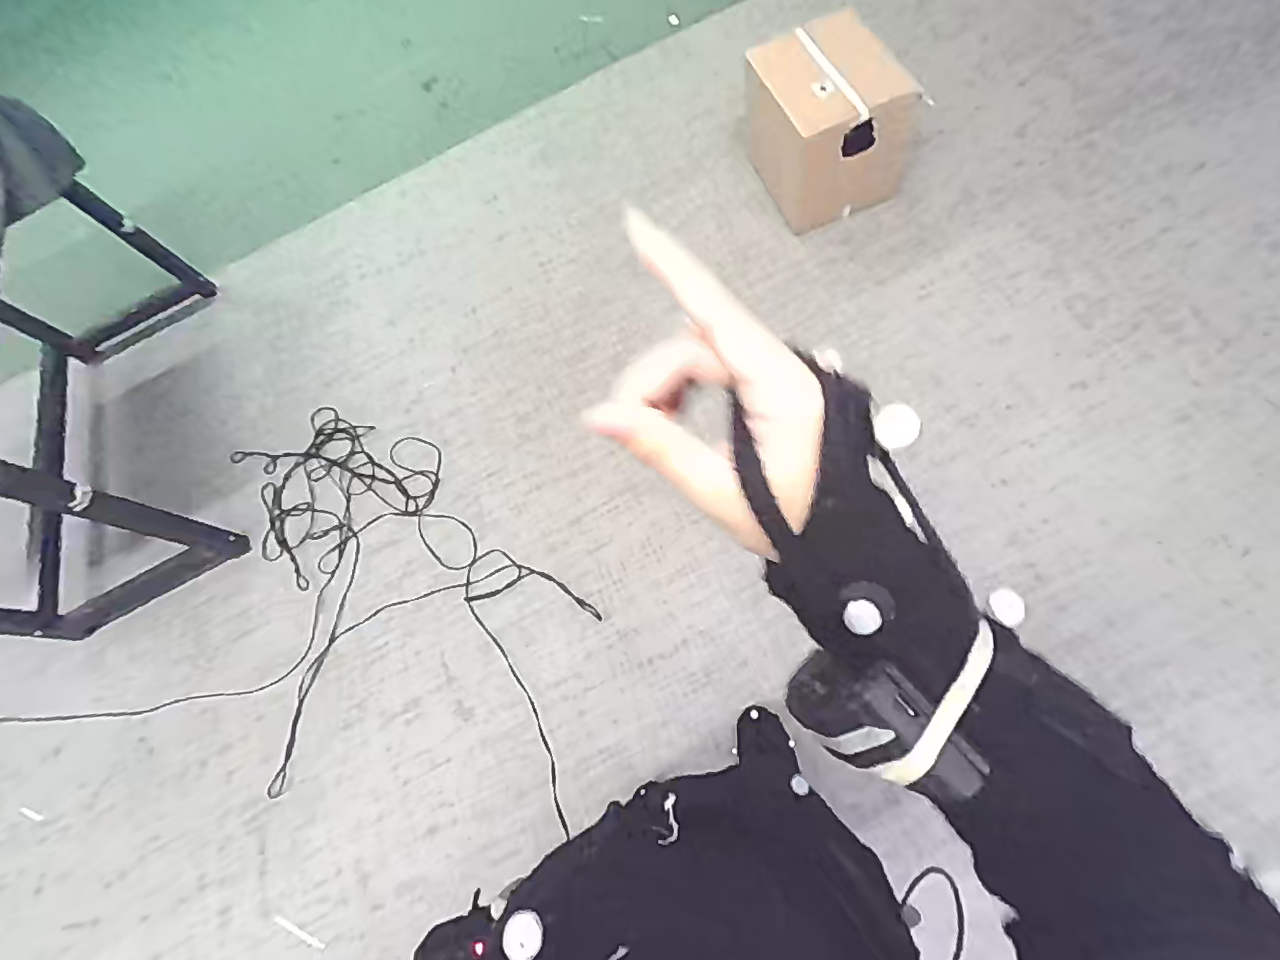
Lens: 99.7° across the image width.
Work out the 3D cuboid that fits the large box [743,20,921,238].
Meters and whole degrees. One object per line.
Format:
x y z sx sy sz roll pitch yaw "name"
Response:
0.516 -0.992 1.549 0.320 0.320 0.408 -21 66 4 "large box"
